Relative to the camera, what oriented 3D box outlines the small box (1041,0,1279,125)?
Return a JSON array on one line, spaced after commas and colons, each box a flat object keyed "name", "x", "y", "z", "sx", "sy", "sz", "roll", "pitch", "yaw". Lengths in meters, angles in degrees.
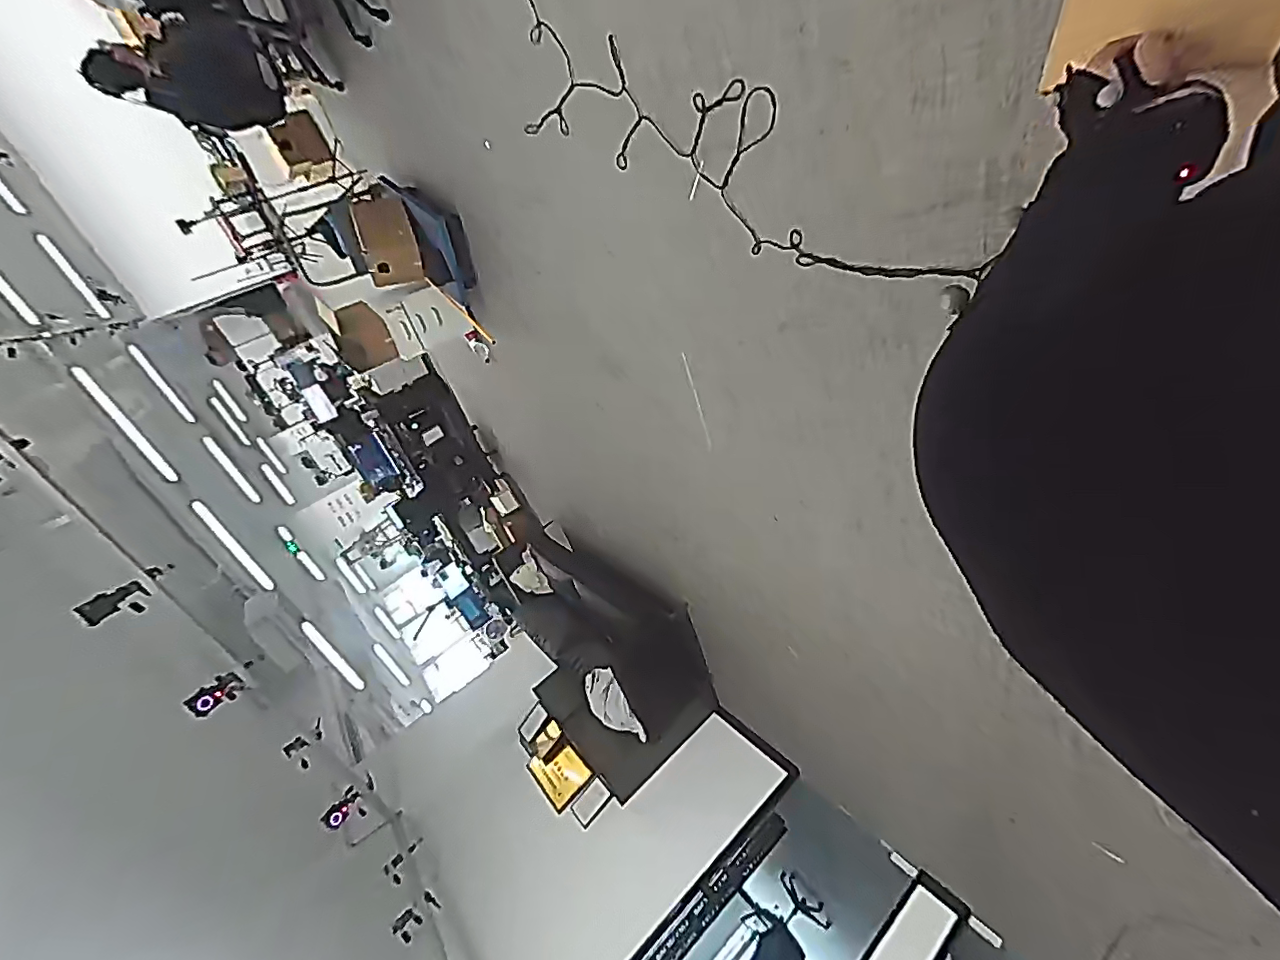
[{"name": "small box", "x": 0.515, "y": -0.455, "z": 0.503, "sx": 0.168, "sy": 0.179, "sz": 0.176, "roll": 26, "pitch": 122, "yaw": 42}]
